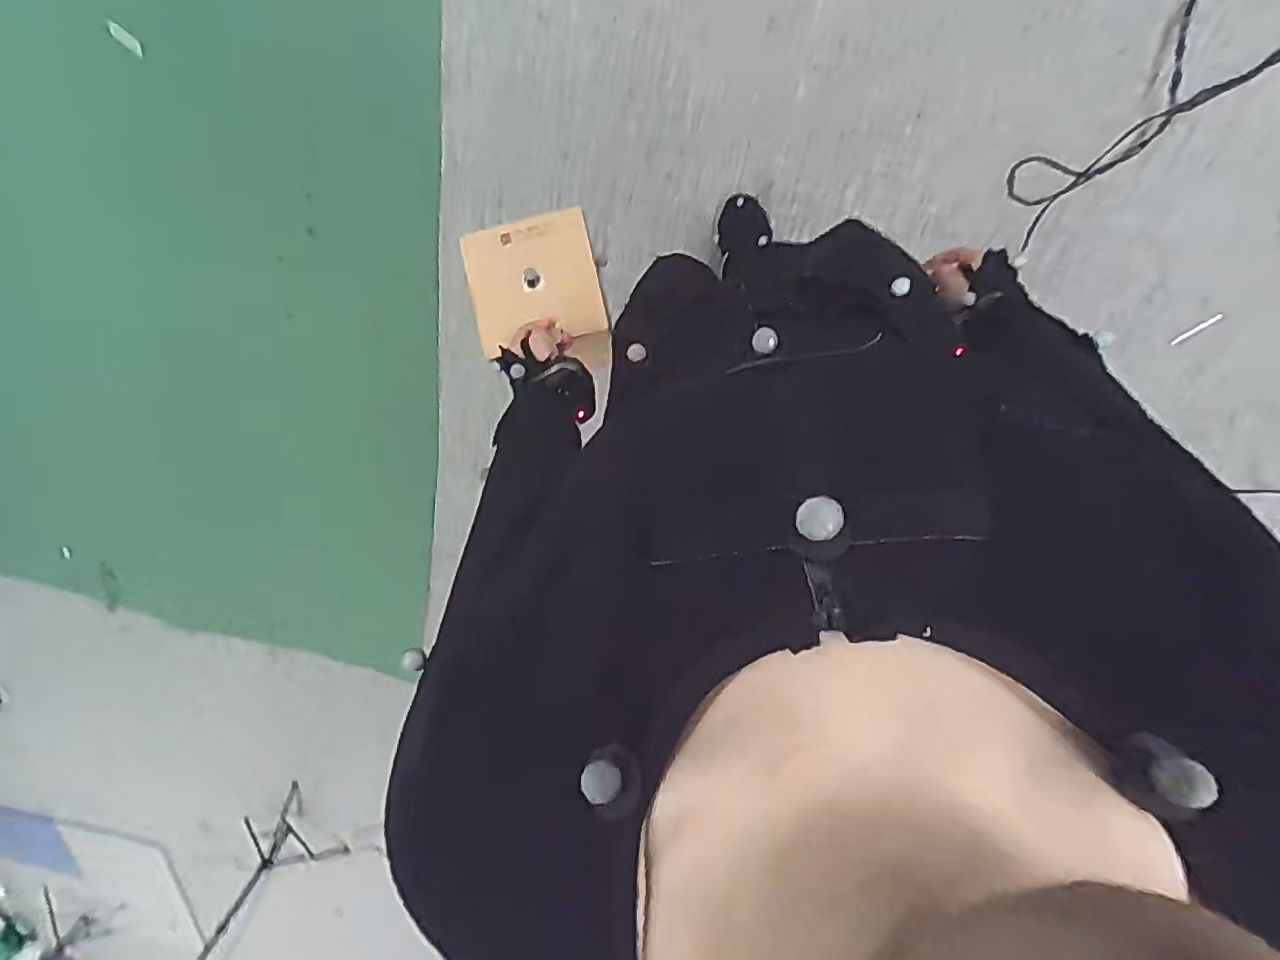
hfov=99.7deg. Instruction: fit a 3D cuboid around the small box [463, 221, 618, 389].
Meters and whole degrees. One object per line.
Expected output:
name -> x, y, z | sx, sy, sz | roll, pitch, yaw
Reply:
small box -> -0.134, -0.247, 0.772 | 0.168, 0.179, 0.176 | -14, 88, 1
